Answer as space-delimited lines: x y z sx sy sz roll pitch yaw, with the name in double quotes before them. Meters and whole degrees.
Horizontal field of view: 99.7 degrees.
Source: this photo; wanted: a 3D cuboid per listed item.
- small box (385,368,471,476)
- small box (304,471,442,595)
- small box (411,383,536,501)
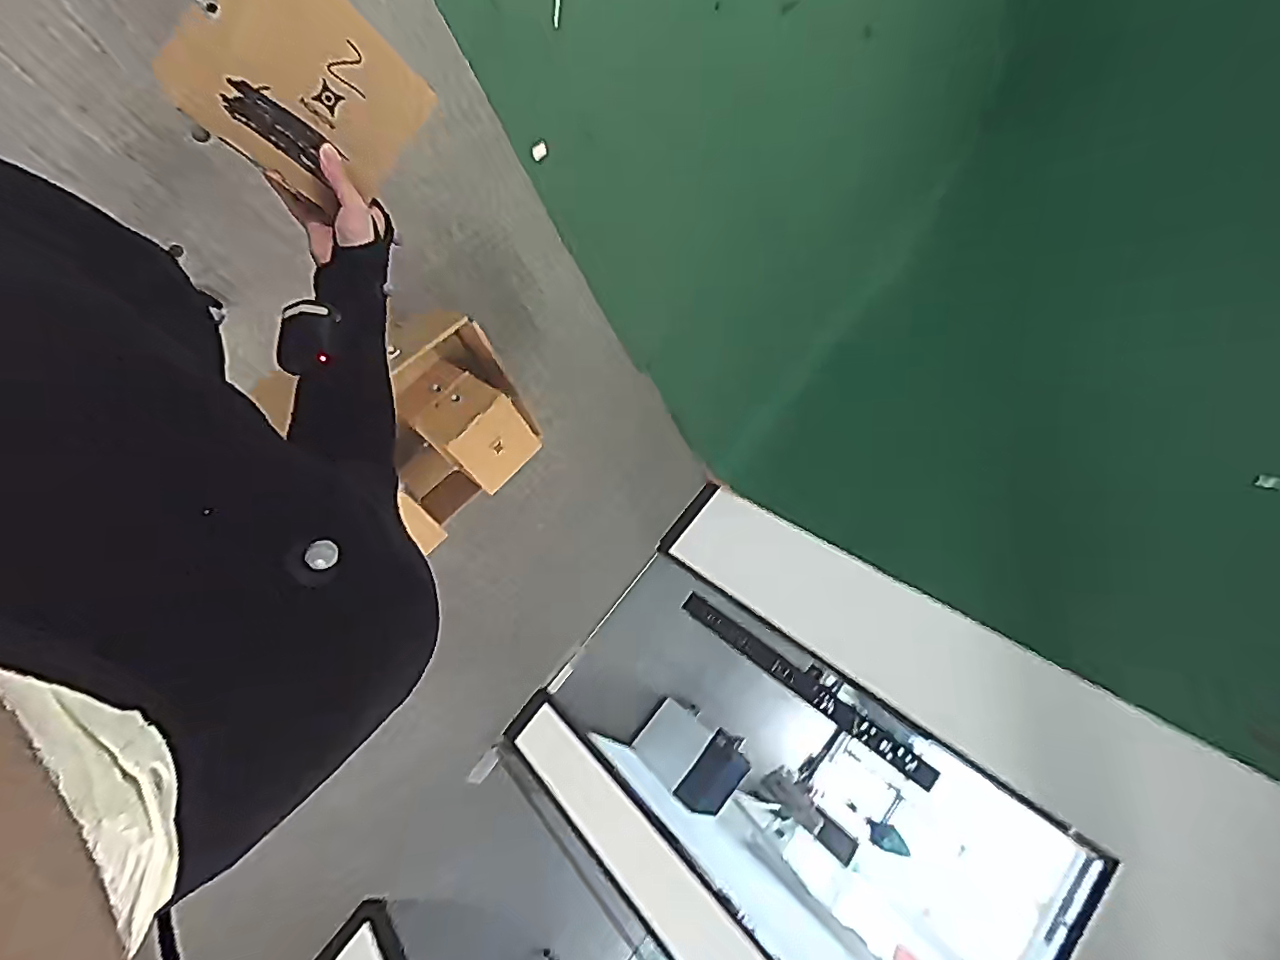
"small box" -0.484 -0.148 1.329 0.179 0.176 0.168 -46 140 -16
"small box" -0.564 0.103 1.138 0.168 0.176 0.179 -44 140 -17
"small box" -0.376 -0.091 1.221 0.168 0.176 0.179 -47 140 -15
